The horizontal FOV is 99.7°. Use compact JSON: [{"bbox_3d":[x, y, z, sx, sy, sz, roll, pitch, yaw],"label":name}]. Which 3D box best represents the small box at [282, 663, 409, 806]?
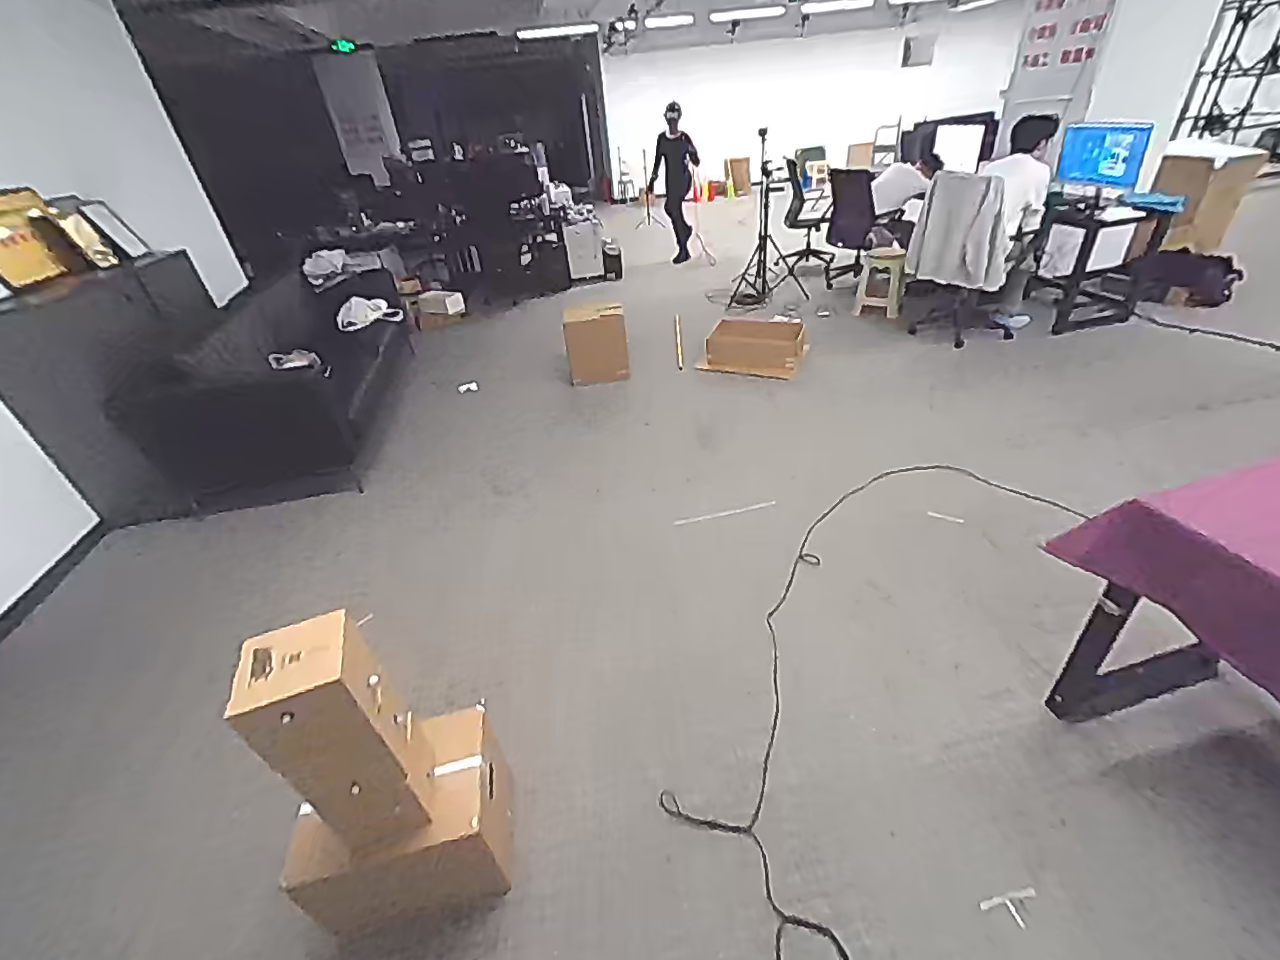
[{"bbox_3d":[-0.572,0.507,1.080,0.179,0.176,0.168,-16,37,-14],"label":"small box"}]

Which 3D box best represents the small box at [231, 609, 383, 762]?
[{"bbox_3d":[-0.590,0.374,0.983,0.179,0.176,0.168,-17,37,-15],"label":"small box"}]
